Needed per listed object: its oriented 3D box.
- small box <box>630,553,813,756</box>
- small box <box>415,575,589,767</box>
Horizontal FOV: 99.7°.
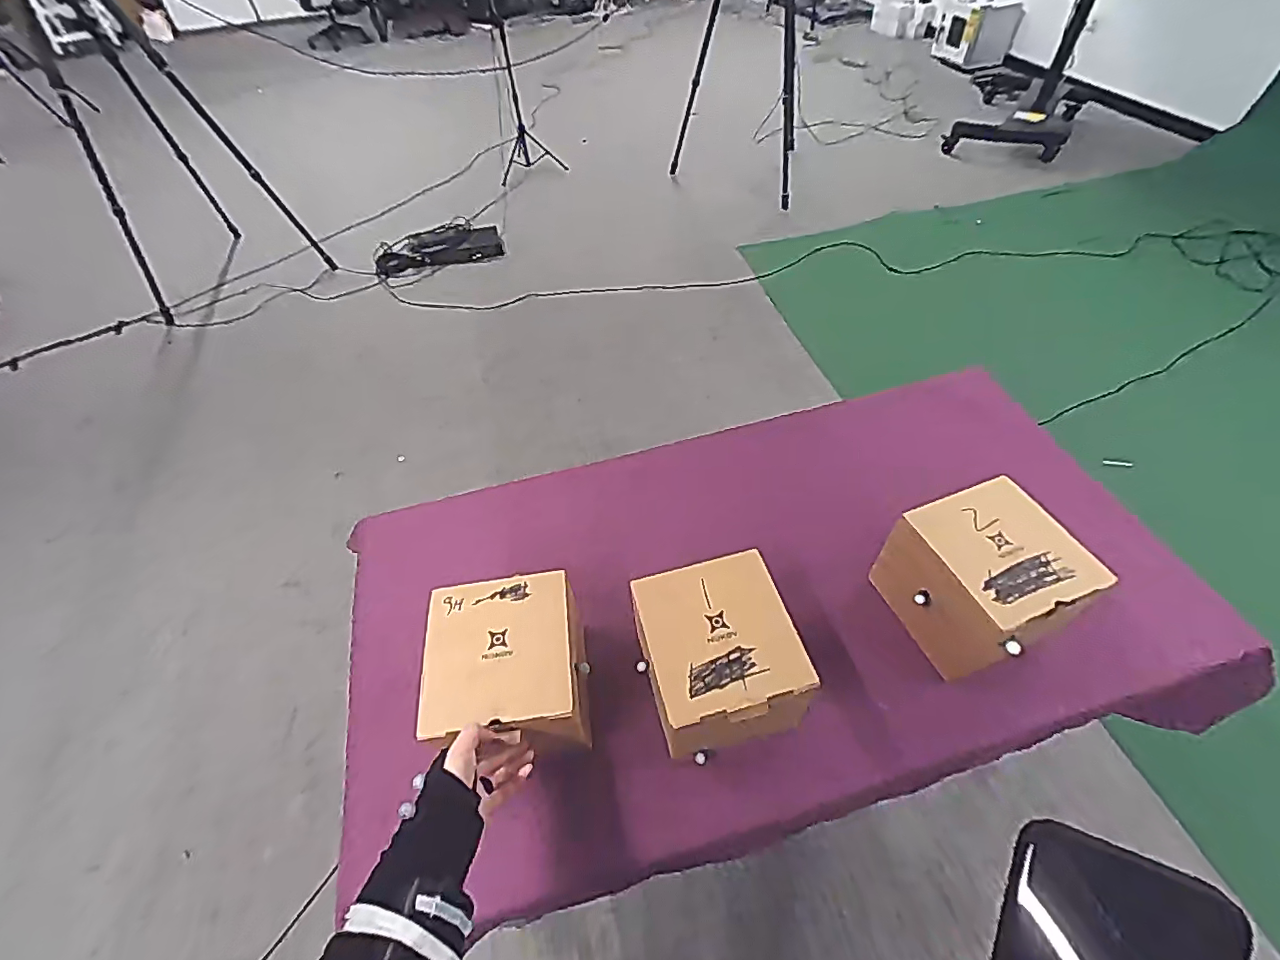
[{"bbox_3d":[0.091,0.223,0.671,0.168,0.176,0.179,-13,50,-7],"label":"small box"},{"bbox_3d":[-0.158,0.243,0.673,0.168,0.176,0.179,-8,51,-3],"label":"small box"}]
